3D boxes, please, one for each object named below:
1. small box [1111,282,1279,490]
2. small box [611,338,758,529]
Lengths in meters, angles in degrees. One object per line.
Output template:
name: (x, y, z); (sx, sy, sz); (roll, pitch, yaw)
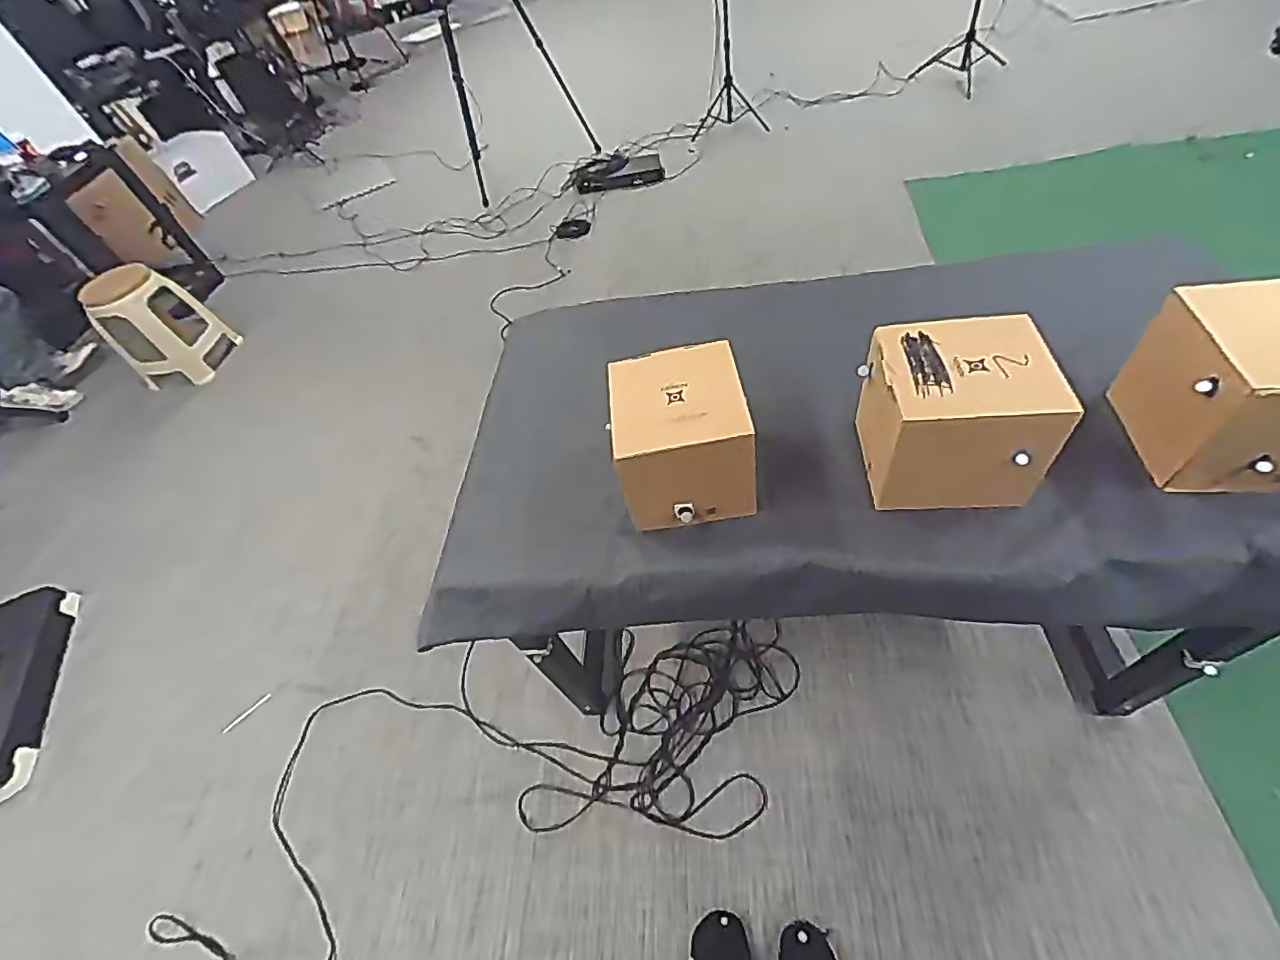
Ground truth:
small box: (0.701, -0.106, 0.622); (0.168, 0.176, 0.179); (-1, 52, 12)
small box: (0.060, -0.059, 0.730); (0.168, 0.176, 0.179); (-11, 52, 6)
